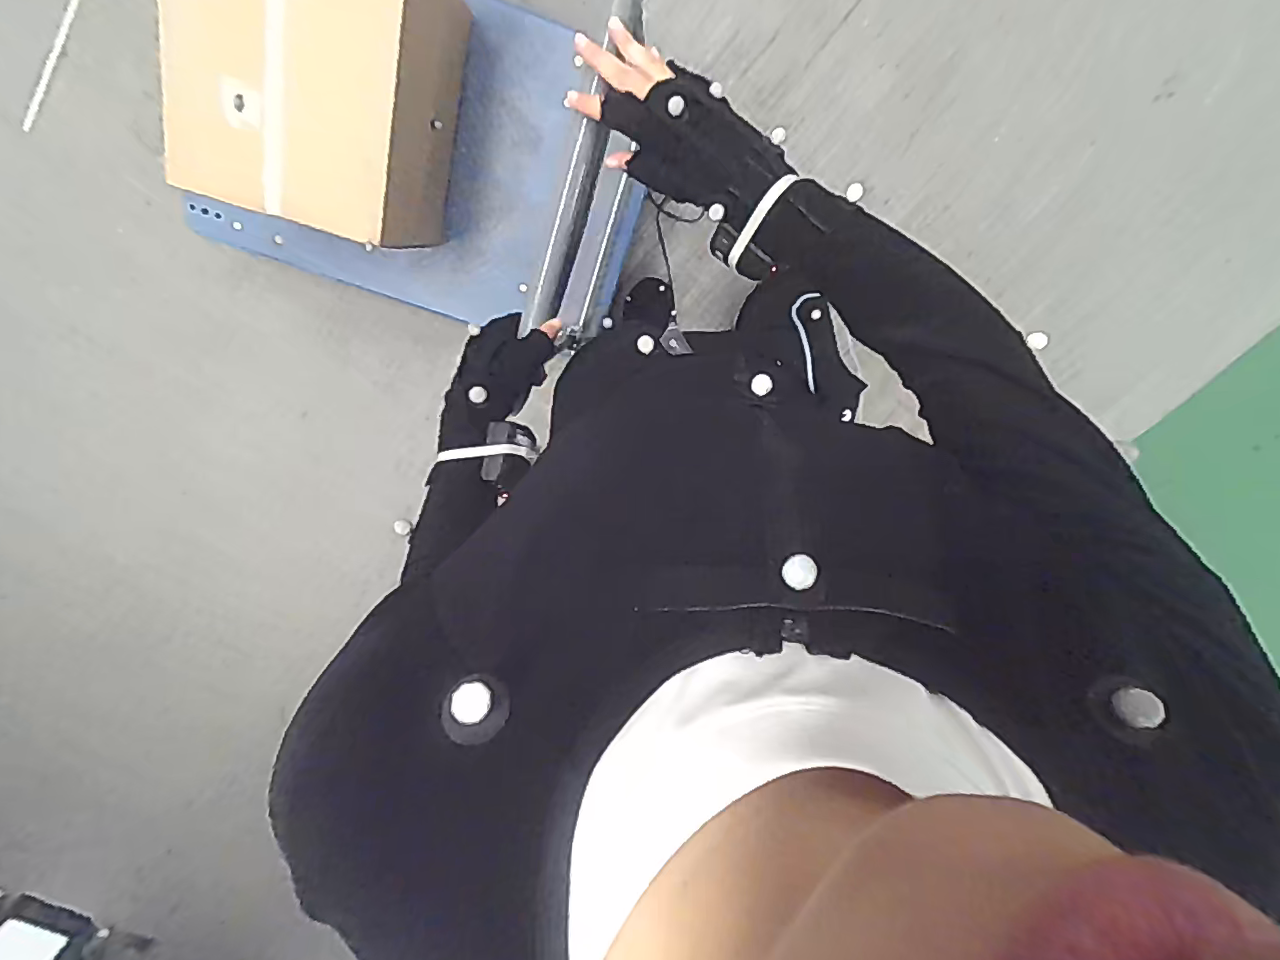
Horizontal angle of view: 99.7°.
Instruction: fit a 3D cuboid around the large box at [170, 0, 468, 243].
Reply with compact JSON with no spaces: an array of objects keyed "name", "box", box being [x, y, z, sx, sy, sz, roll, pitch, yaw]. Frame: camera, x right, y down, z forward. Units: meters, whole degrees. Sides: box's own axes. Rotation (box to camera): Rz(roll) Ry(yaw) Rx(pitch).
[{"name":"large box","box":[-0.498,-0.649,0.892,0.320,0.320,0.408,15,113,-7]}]
